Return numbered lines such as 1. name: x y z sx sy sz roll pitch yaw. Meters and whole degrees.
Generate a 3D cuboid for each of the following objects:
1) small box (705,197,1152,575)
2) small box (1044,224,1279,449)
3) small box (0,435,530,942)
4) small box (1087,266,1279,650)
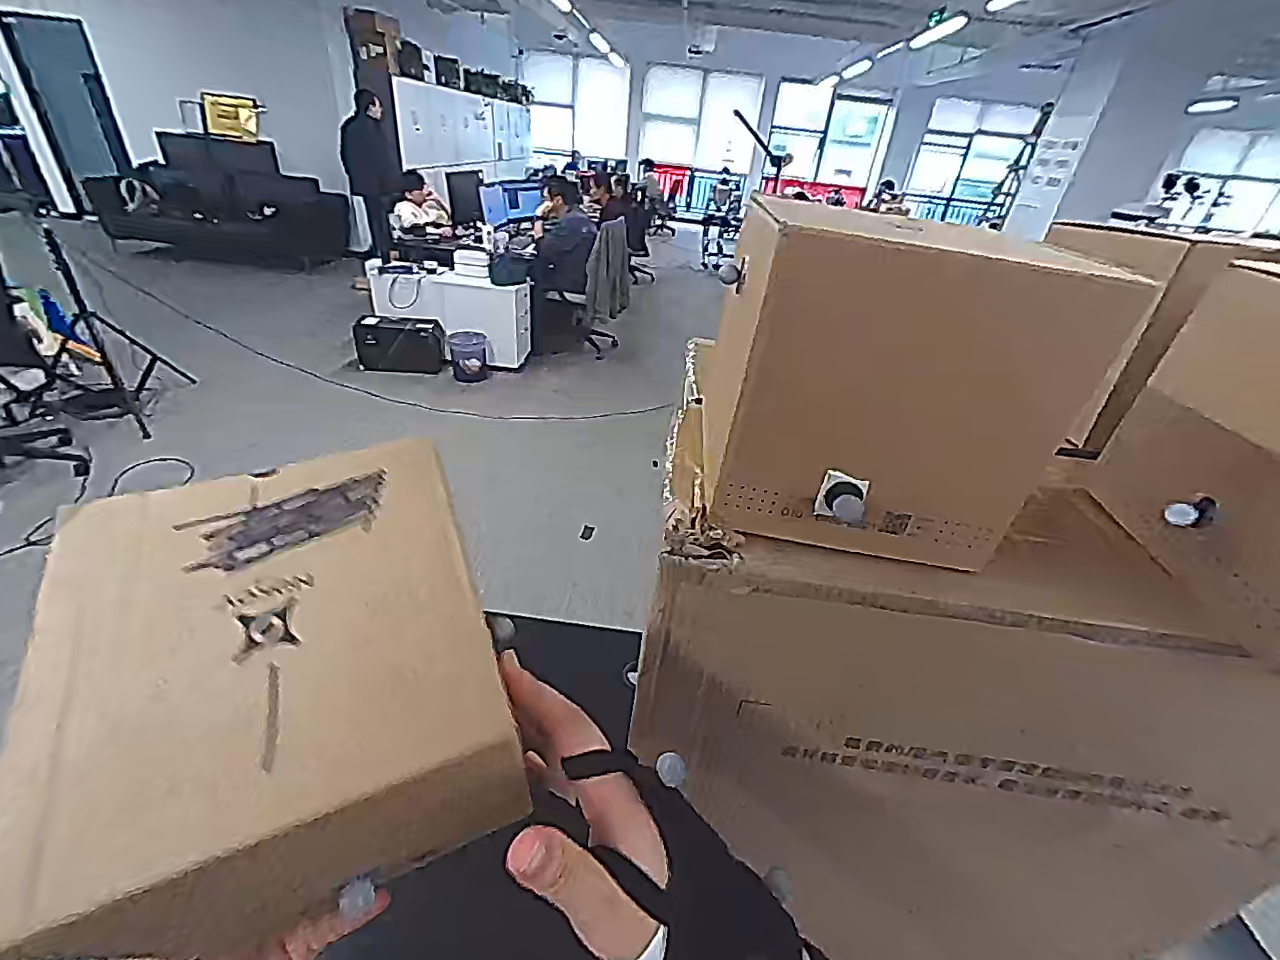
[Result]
1. small box: 0.137 -0.068 0.344 0.168 0.176 0.179 8 33 1
2. small box: 0.466 -0.129 0.493 0.168 0.176 0.179 6 29 2
3. small box: -0.165 0.107 0.292 0.168 0.176 0.179 -16 53 -19
4. small box: 0.413 -0.004 0.296 0.168 0.176 0.179 6 35 2
